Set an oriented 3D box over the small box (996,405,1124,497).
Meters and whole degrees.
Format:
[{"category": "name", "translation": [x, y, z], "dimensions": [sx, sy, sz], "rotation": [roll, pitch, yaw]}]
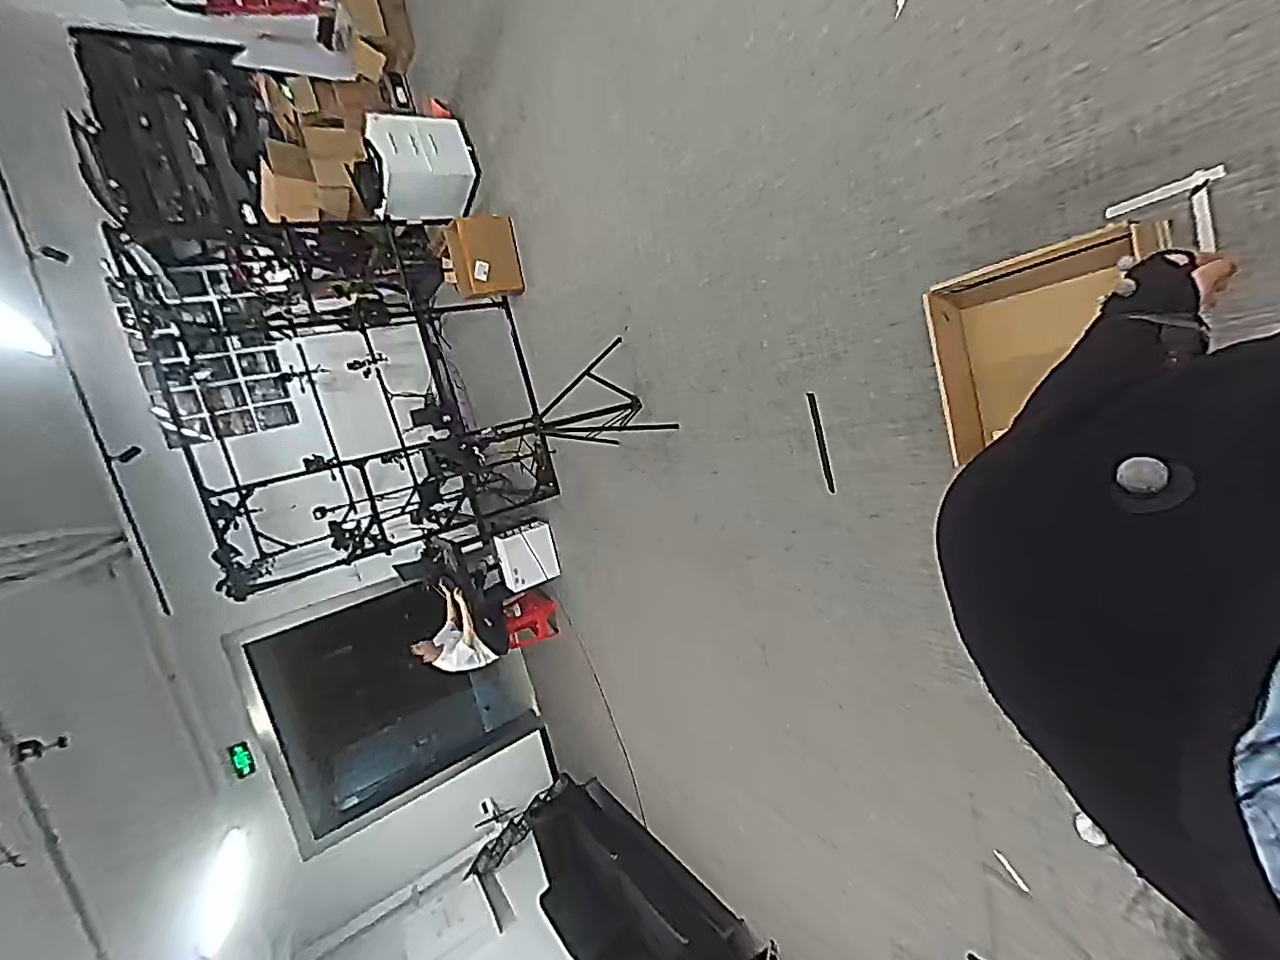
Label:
[{"category": "small box", "translation": [0.941, -0.064, 1.208], "dimensions": [0.179, 0.176, 0.168], "rotation": [-7, 99, 59]}]
